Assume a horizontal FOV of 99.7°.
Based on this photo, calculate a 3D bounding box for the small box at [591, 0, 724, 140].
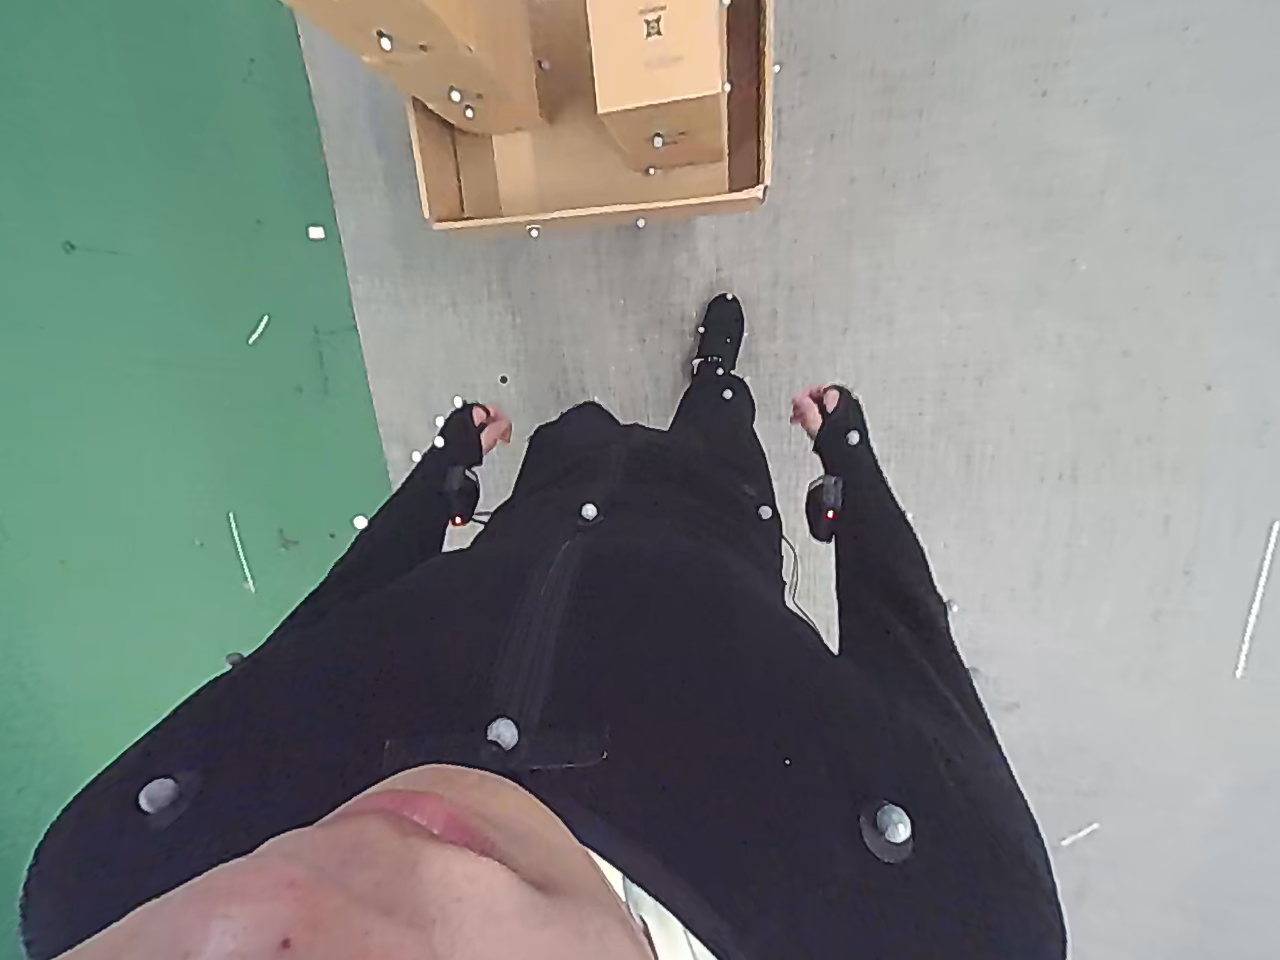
[{"bbox_3d":[0.031,-0.601,0.746,0.168,0.176,0.179,-1,107,10],"label":"small box"}]

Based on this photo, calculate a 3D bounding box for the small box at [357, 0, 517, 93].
[{"bbox_3d":[-0.285,-0.686,0.769,0.168,0.176,0.179,3,108,9],"label":"small box"}]

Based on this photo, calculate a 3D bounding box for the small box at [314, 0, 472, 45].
[{"bbox_3d":[-0.306,-0.638,0.616,0.168,0.176,0.179,4,109,7],"label":"small box"}]

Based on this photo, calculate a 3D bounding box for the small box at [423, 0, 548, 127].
[{"bbox_3d":[-0.263,-0.735,0.924,0.168,0.176,0.179,1,108,8],"label":"small box"}]

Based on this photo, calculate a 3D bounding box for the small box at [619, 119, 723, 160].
[{"bbox_3d":[0.055,-0.652,0.900,0.168,0.176,0.179,-1,107,9],"label":"small box"}]
